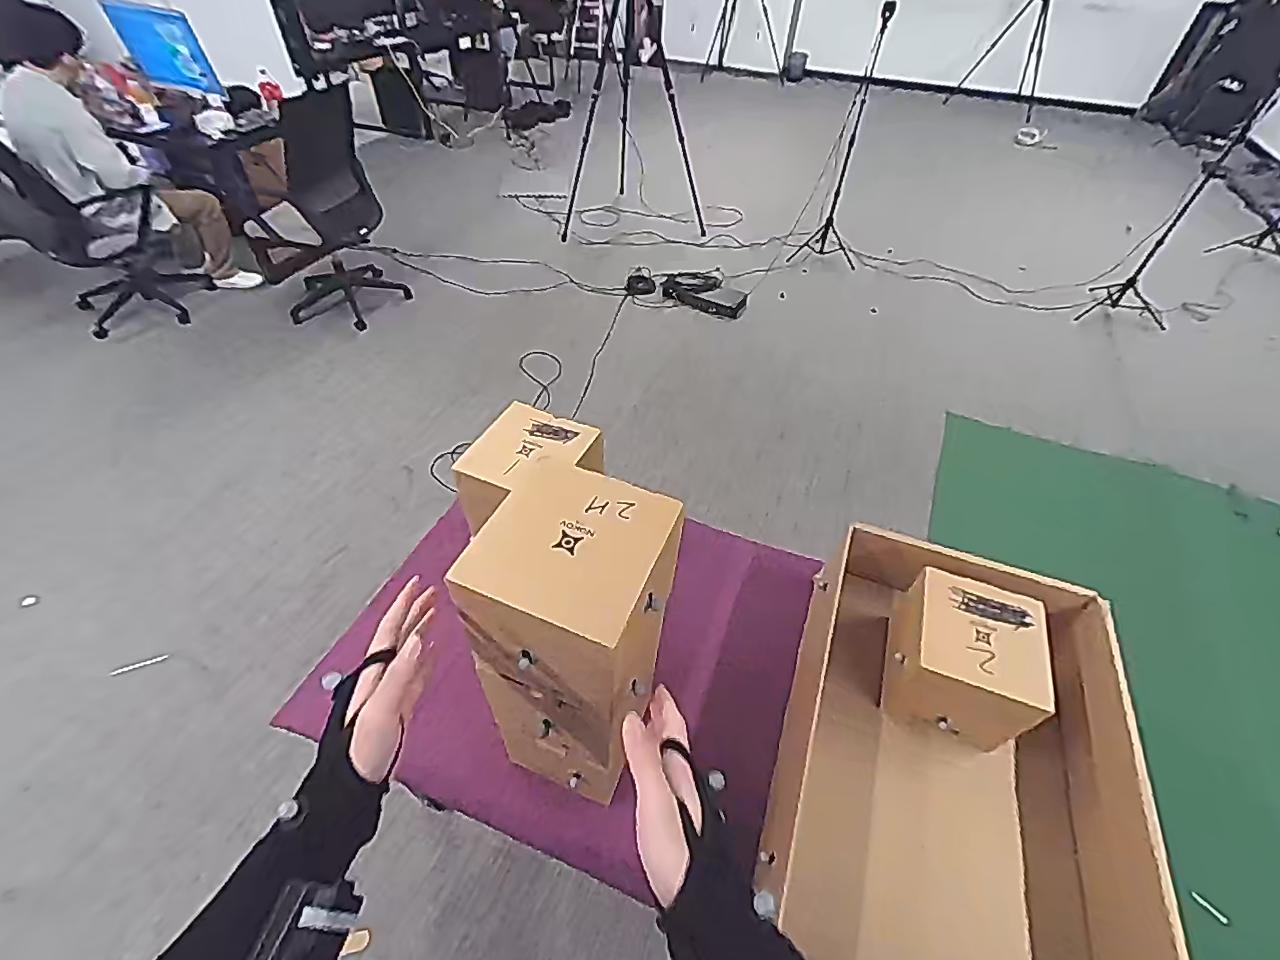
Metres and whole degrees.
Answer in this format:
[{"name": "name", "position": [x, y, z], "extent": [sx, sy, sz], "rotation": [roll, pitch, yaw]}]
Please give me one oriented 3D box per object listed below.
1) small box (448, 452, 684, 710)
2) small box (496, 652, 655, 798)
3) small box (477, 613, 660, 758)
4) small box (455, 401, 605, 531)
[{"name": "small box", "position": [-0.066, 0.106, 0.565], "extent": [0.168, 0.176, 0.179], "rotation": [19, 47, 13]}, {"name": "small box", "position": [-0.086, 0.335, 0.801], "extent": [0.168, 0.176, 0.179], "rotation": [18, 47, 13]}, {"name": "small box", "position": [-0.076, 0.220, 0.686], "extent": [0.168, 0.176, 0.179], "rotation": [18, 49, 12]}, {"name": "small box", "position": [-0.169, 0.005, 0.883], "extent": [0.168, 0.176, 0.179], "rotation": [19, 49, 15]}]
